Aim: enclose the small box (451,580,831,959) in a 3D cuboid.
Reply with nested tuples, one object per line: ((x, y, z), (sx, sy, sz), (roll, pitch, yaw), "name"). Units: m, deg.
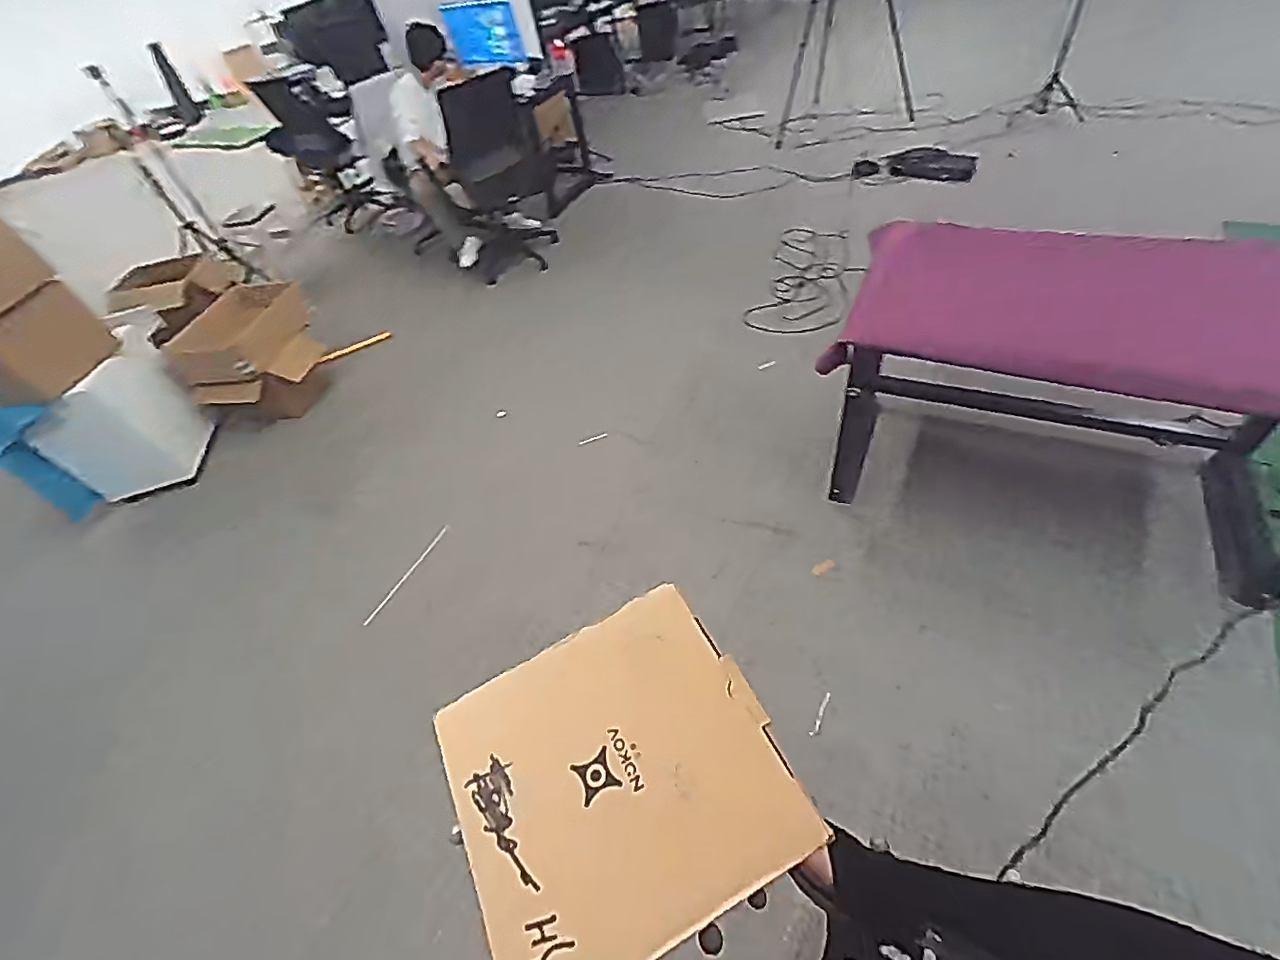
((0.001, 0.205, 0.376), (0.179, 0.176, 0.168), (-27, 54, -8), "small box")
